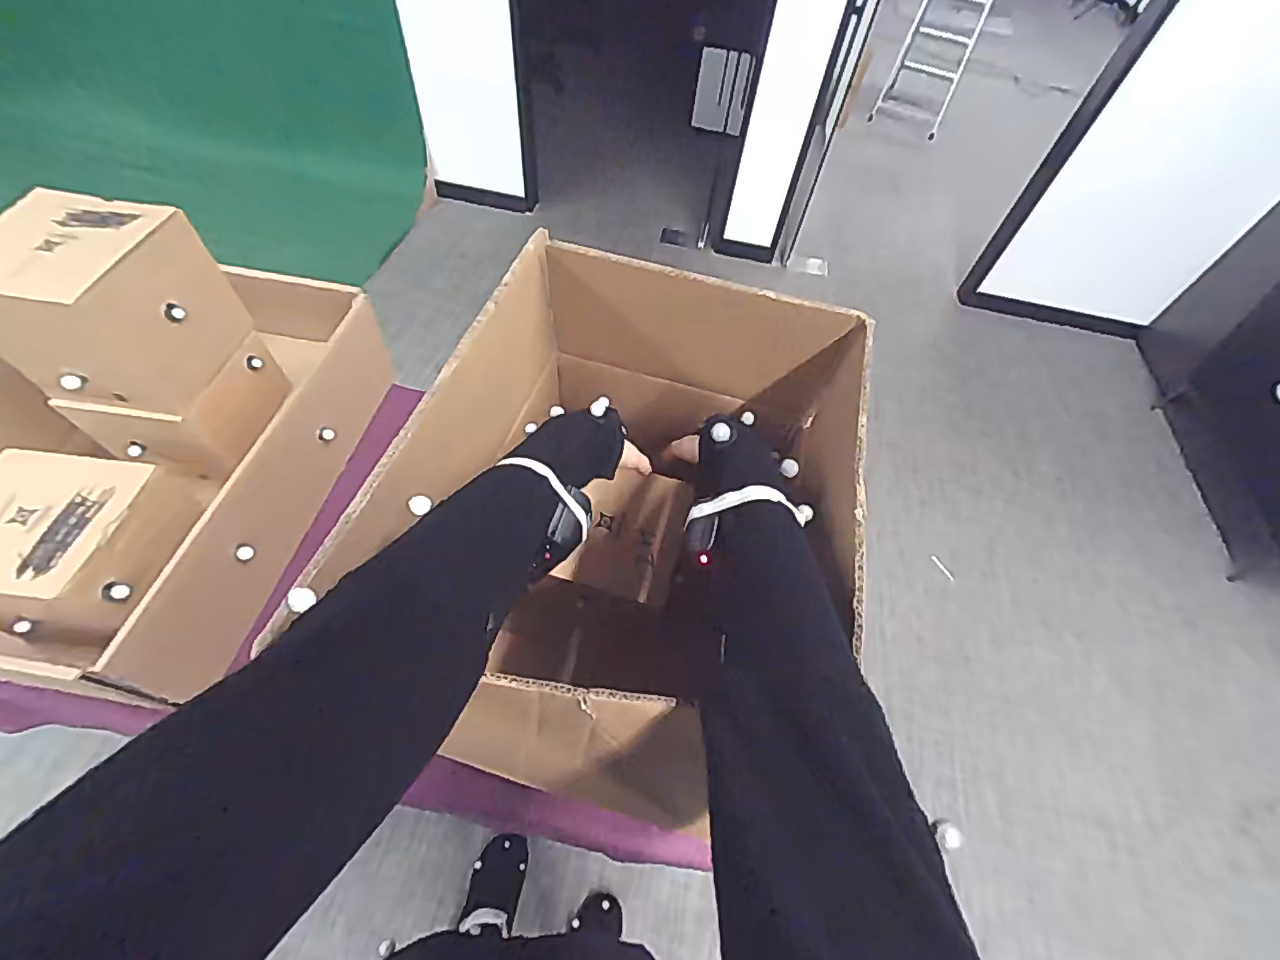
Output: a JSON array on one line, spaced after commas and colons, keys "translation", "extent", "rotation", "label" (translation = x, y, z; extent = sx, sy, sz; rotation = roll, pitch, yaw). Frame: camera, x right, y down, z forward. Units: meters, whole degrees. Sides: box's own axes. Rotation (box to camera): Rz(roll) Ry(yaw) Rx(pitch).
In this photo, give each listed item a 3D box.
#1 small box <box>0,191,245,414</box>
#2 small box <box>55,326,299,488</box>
[{"translation": [-0.619, -0.205, 0.640], "extent": [0.168, 0.176, 0.179], "rotation": [8, 57, 1], "label": "small box"}, {"translation": [-0.632, -0.107, 0.772], "extent": [0.168, 0.176, 0.179], "rotation": [8, 56, 1], "label": "small box"}]
